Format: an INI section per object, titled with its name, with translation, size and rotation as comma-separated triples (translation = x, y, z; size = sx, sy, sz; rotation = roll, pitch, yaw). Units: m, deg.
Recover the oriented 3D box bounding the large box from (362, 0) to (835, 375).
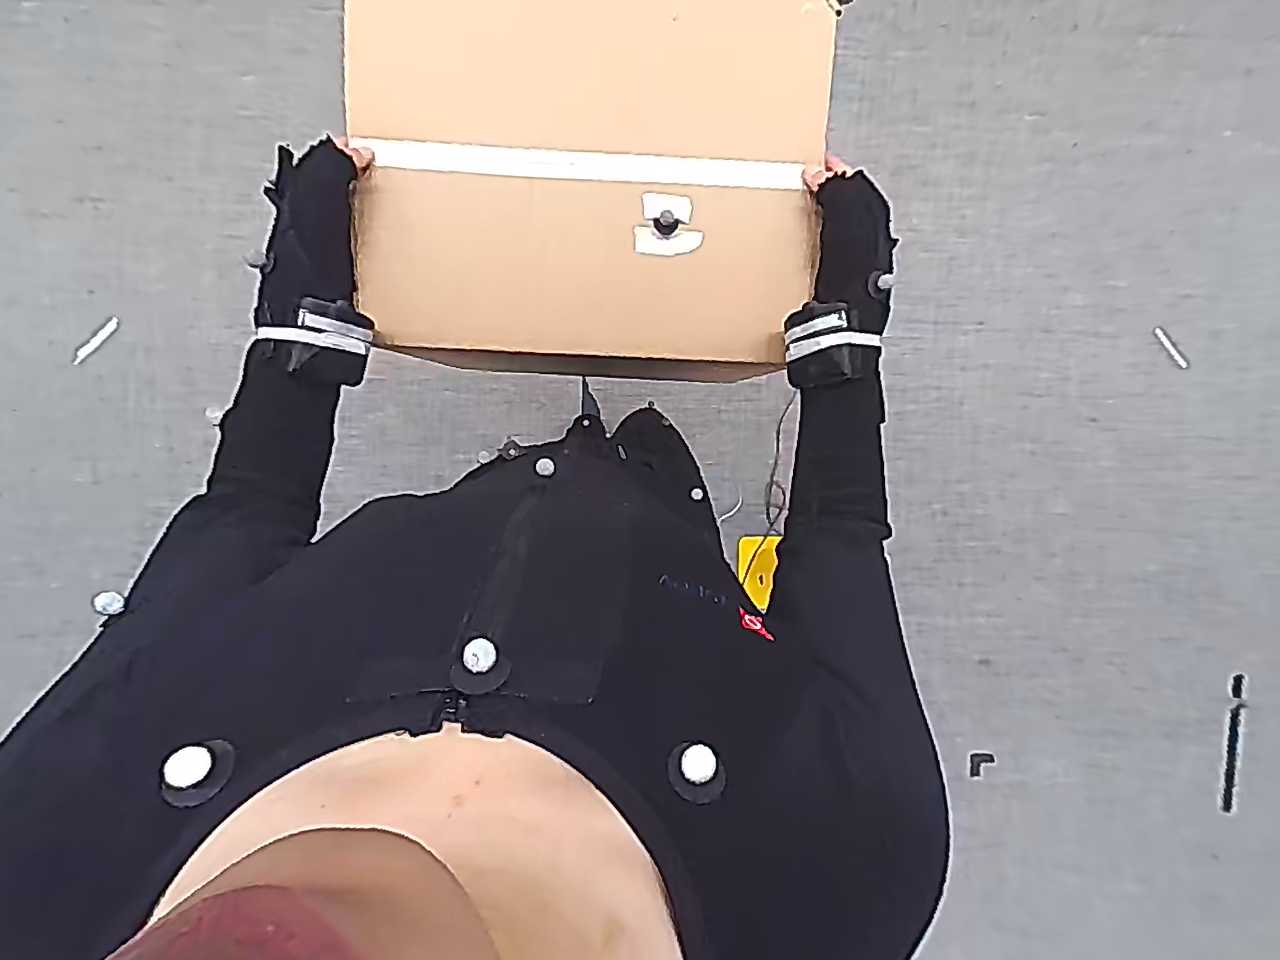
[large box]
translation = -0.044, -0.292, 0.616
size = 0.408, 0.320, 0.320
rotation = 2, 98, -3
